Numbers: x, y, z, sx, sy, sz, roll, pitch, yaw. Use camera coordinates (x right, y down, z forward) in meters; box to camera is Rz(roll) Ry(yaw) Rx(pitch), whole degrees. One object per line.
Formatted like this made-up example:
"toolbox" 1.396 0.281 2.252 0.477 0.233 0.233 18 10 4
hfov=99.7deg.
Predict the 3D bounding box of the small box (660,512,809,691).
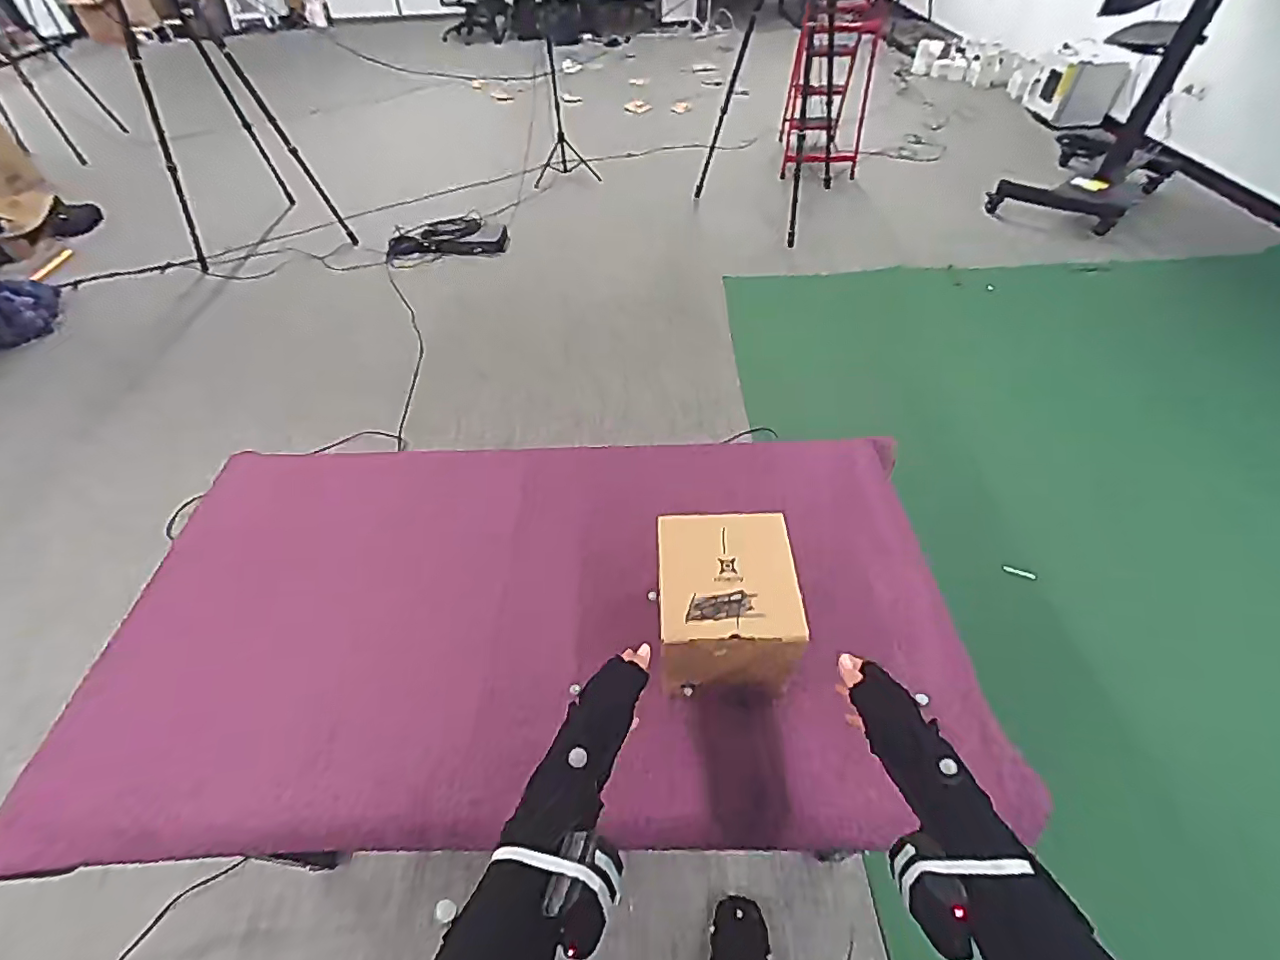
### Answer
"small box" 0.112 0.163 0.706 0.168 0.176 0.179 2 50 2
